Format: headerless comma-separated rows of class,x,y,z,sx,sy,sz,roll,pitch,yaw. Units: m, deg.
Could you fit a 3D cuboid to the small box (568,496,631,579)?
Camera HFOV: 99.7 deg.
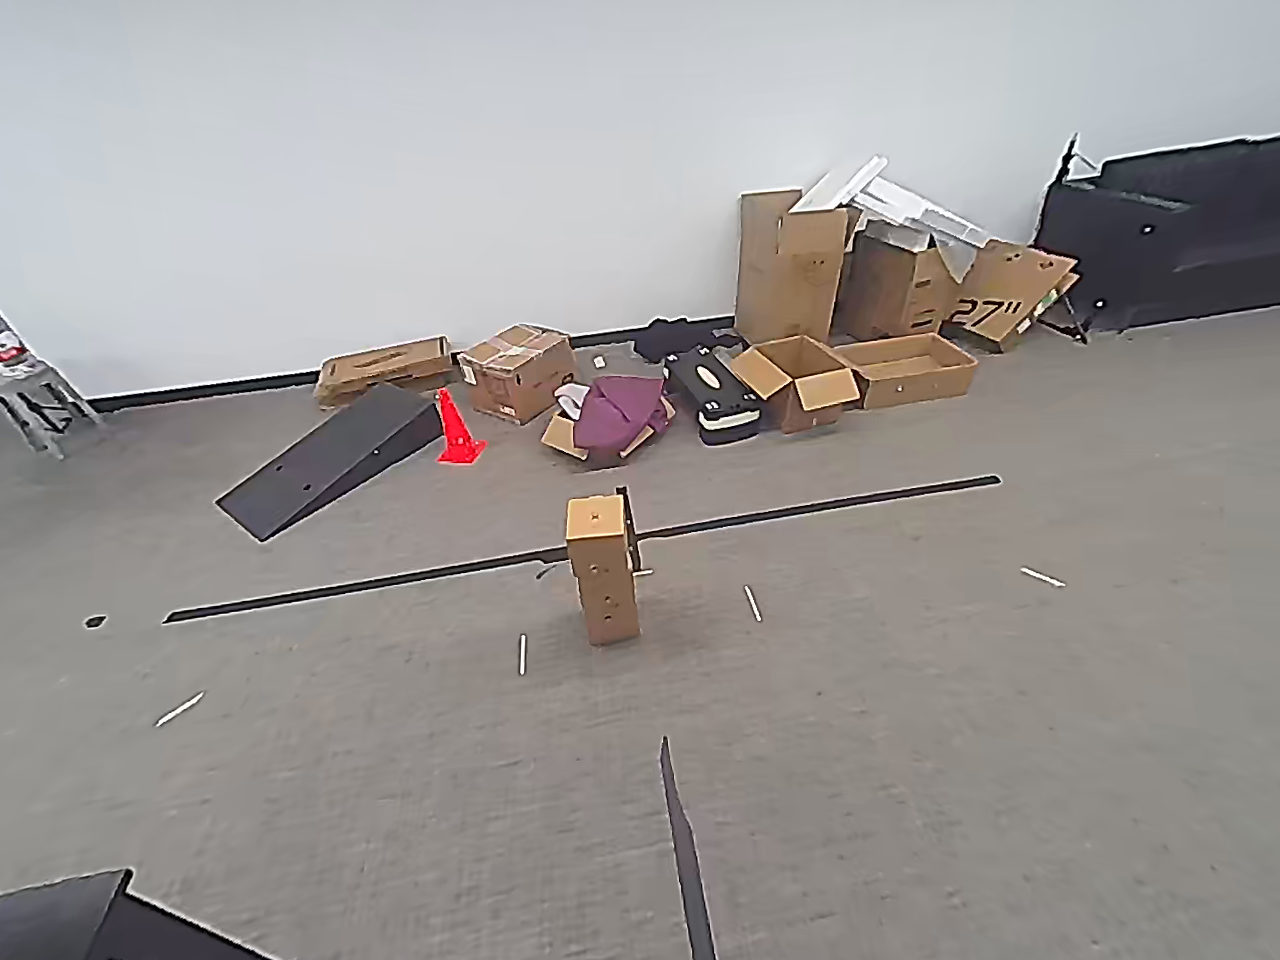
small box,-0.117,0.170,1.605,0.168,0.176,0.179,-6,39,0

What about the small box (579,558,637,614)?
small box,-0.106,0.294,1.710,0.168,0.176,0.179,-9,38,-4

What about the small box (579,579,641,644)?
small box,-0.100,0.424,1.810,0.179,0.176,0.168,-11,38,-8
